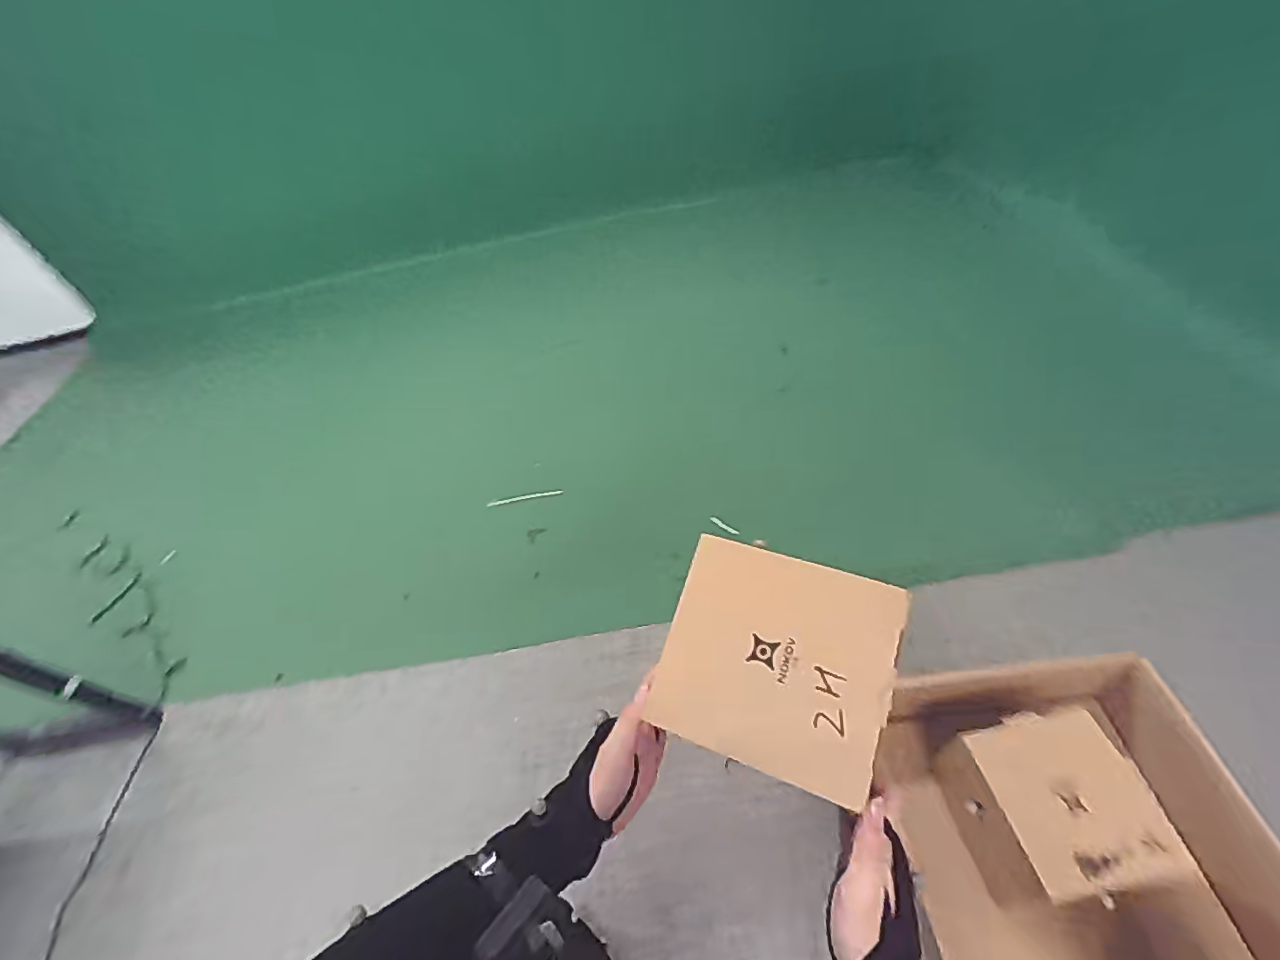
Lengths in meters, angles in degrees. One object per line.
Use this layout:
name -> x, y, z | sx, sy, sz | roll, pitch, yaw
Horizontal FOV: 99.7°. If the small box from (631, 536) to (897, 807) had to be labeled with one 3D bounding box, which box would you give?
small box -> 0.117, 0.171, 0.504 | 0.179, 0.176, 0.168 | 14, 73, 21
